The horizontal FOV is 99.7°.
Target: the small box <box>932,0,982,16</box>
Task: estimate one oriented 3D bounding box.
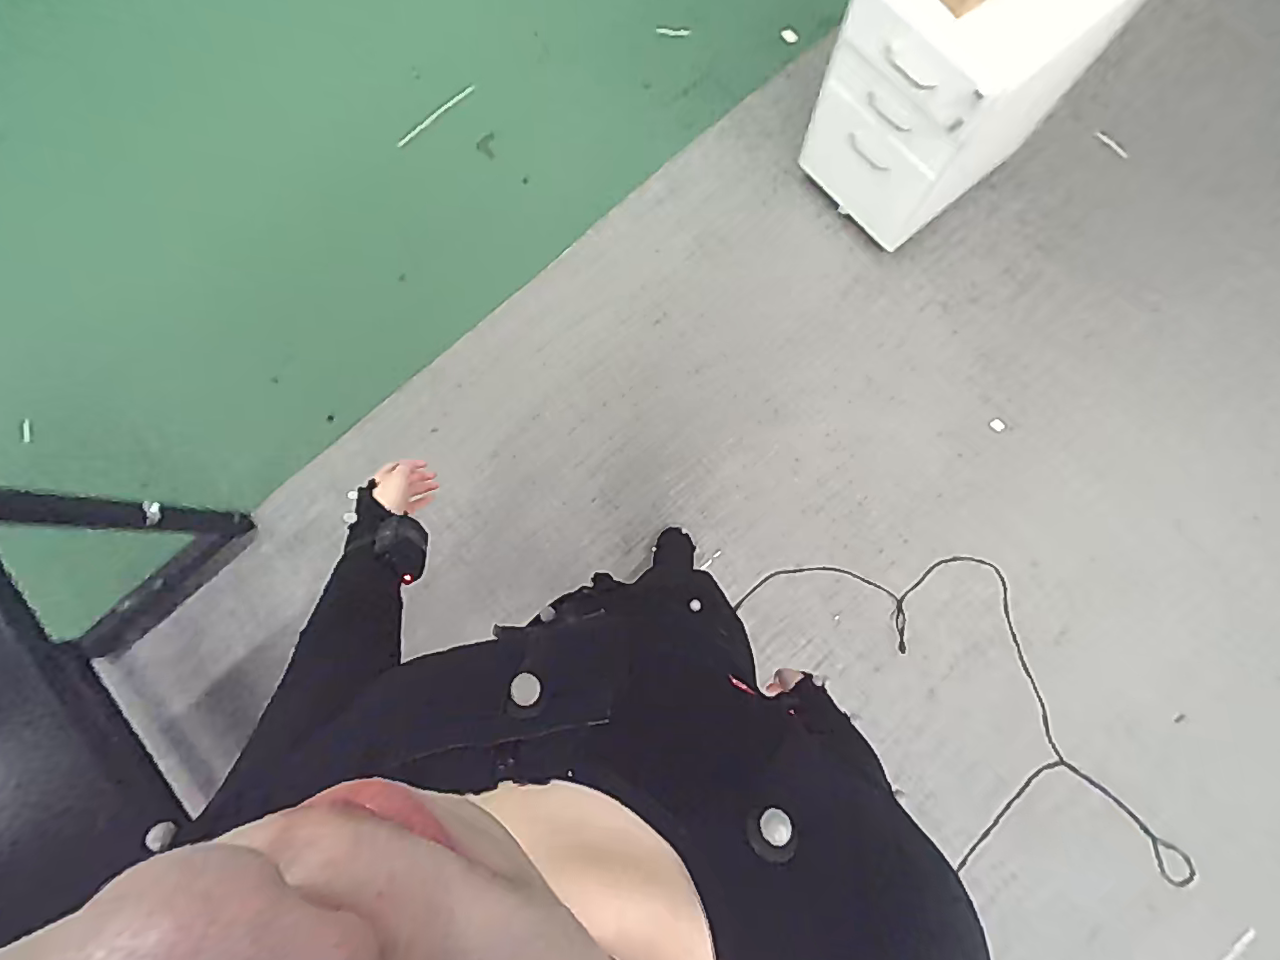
[{"bbox_3d":[0.618,-1.018,0.985,0.168,0.176,0.179,-34,83,-3],"label":"small box"}]
